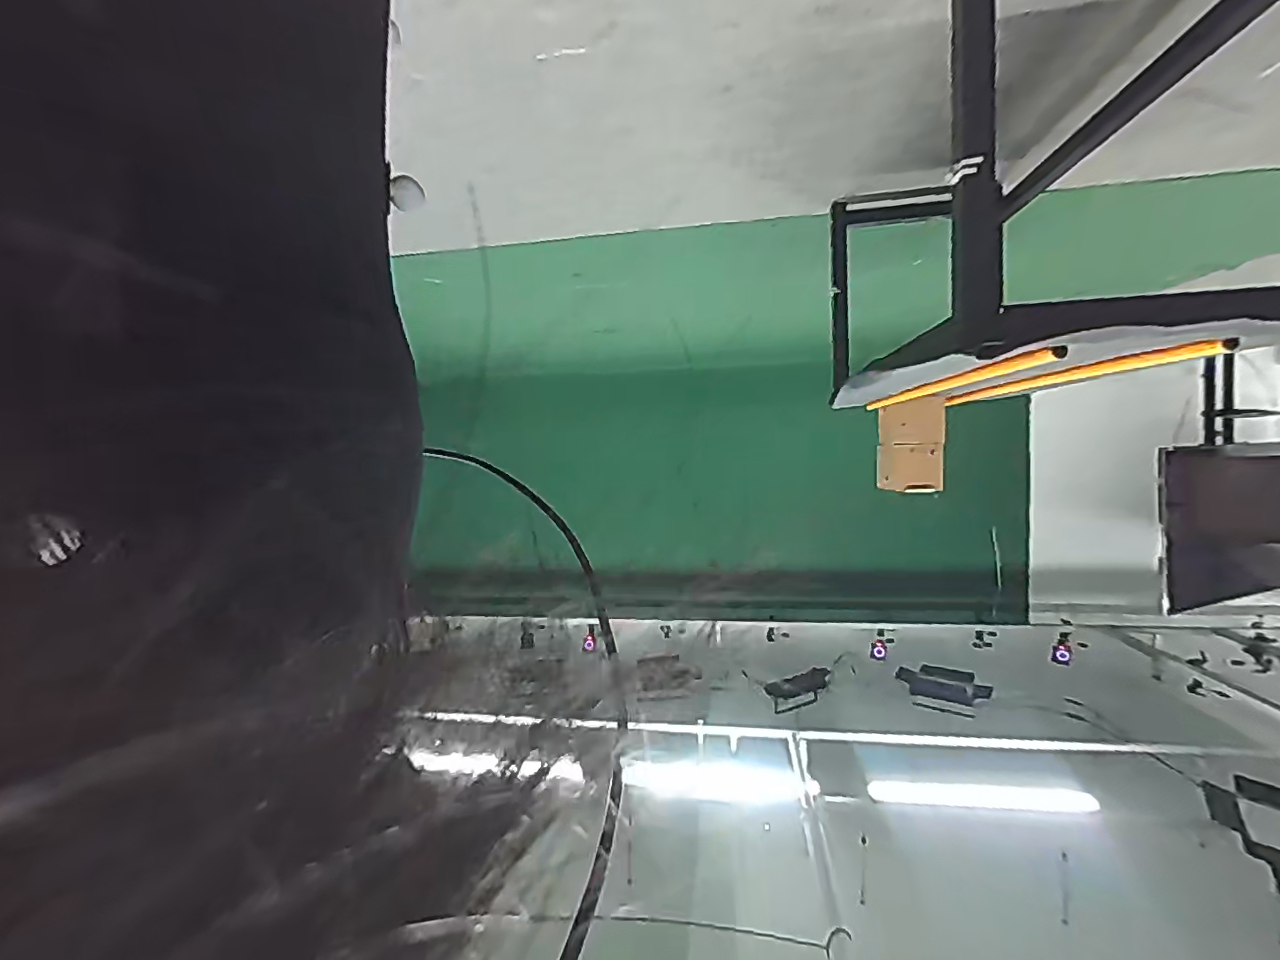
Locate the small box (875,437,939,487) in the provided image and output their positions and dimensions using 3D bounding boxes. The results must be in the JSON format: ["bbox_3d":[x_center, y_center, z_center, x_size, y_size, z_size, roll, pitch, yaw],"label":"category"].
[{"bbox_3d":[0.965,-0.067,1.970,0.168,0.176,0.179,-2,-177,4],"label":"small box"}]
